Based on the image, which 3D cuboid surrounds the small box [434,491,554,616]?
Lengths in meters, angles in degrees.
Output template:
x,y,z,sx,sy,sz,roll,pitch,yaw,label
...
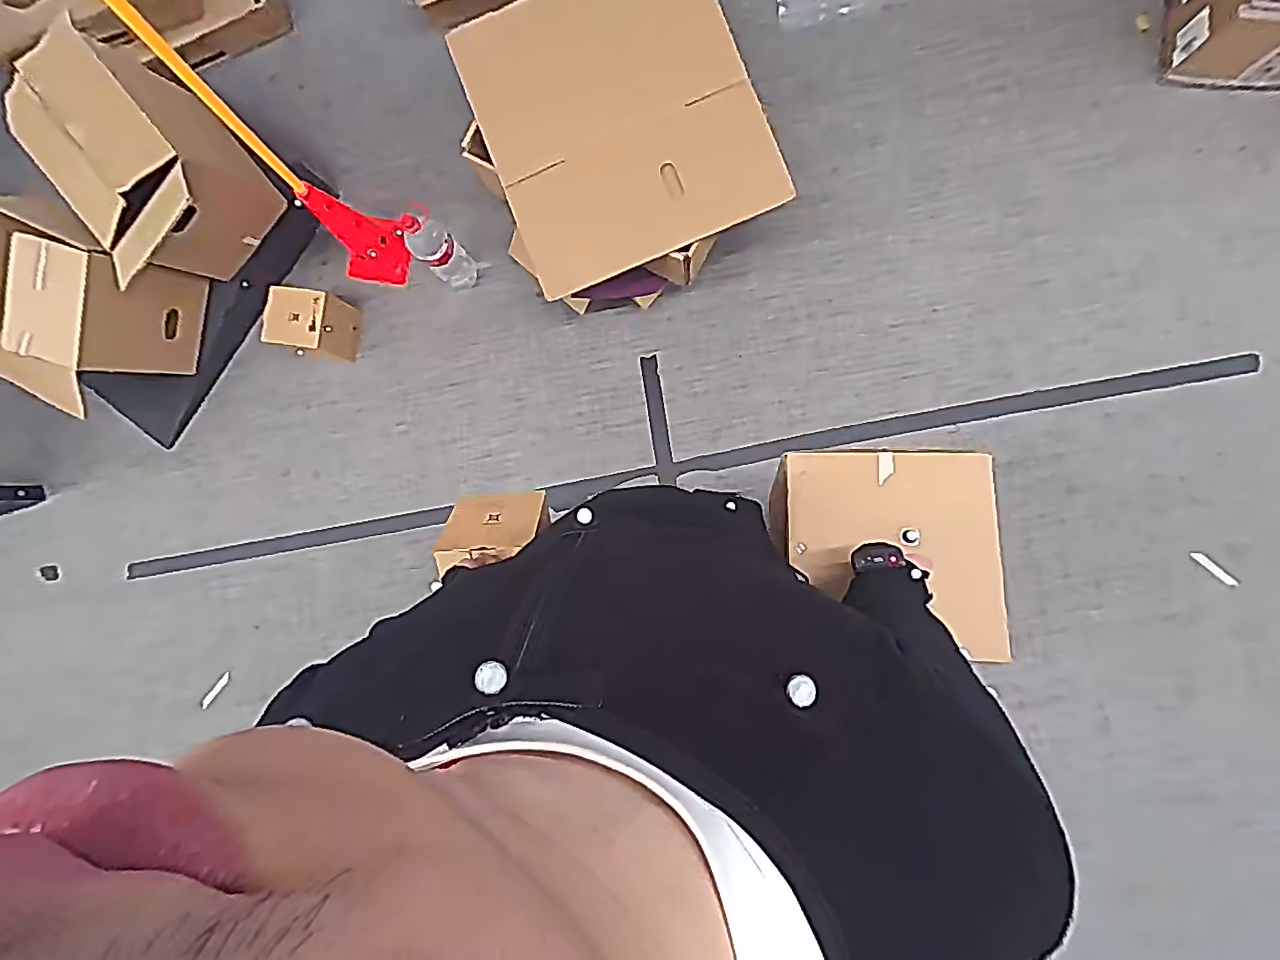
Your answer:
x,y,z,sx,sy,sz,roll,pitch,yaw,label
-0.259,0.140,1.008,0.168,0.179,0.176,-3,121,0,small box
